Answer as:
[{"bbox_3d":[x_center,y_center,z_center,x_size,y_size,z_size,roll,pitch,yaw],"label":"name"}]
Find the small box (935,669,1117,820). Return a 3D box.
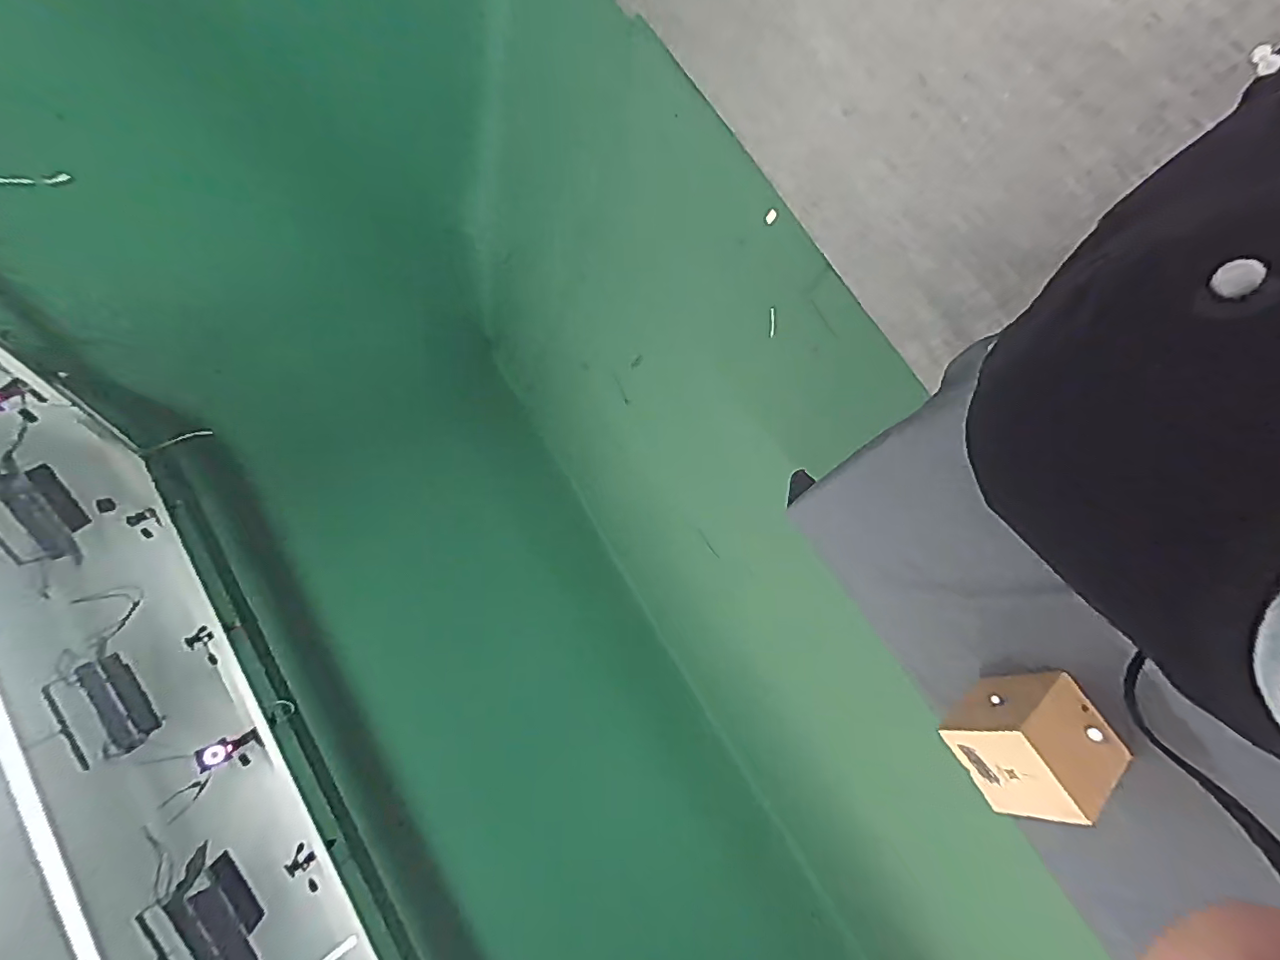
[{"bbox_3d":[0.683,0.460,0.962,0.168,0.176,0.179,55,151,10],"label":"small box"}]
